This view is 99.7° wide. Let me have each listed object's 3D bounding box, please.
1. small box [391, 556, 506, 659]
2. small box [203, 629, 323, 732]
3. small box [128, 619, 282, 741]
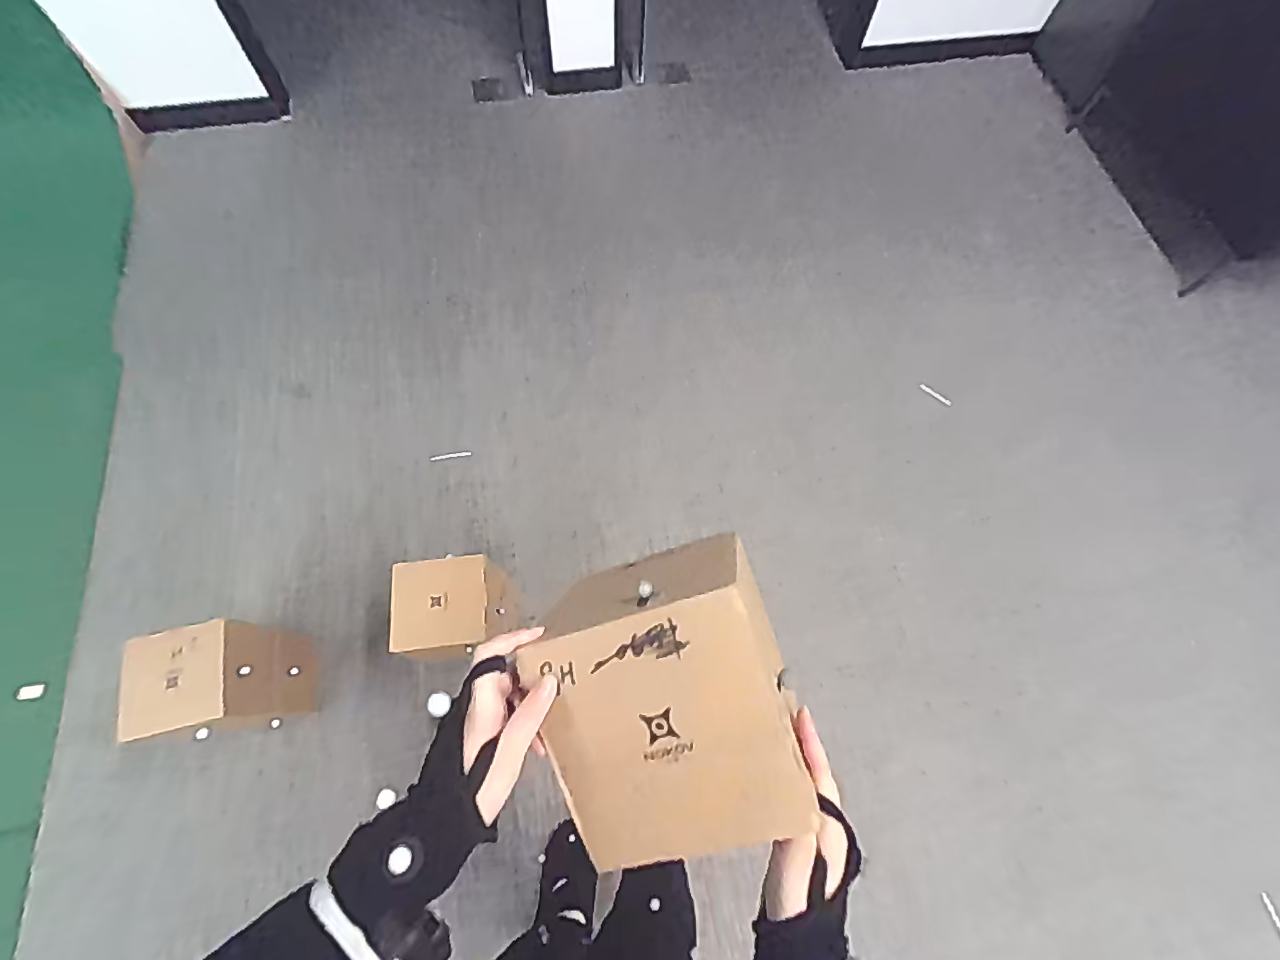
[{"bbox_3d":[-0.378,0.262,1.092,0.179,0.176,0.168,-6,68,-5],"label":"small box"},{"bbox_3d":[-0.817,0.436,1.182,0.168,0.176,0.179,-11,68,-7],"label":"small box"},{"bbox_3d":[-0.811,0.378,1.028,0.168,0.176,0.179,-12,69,-8],"label":"small box"}]
